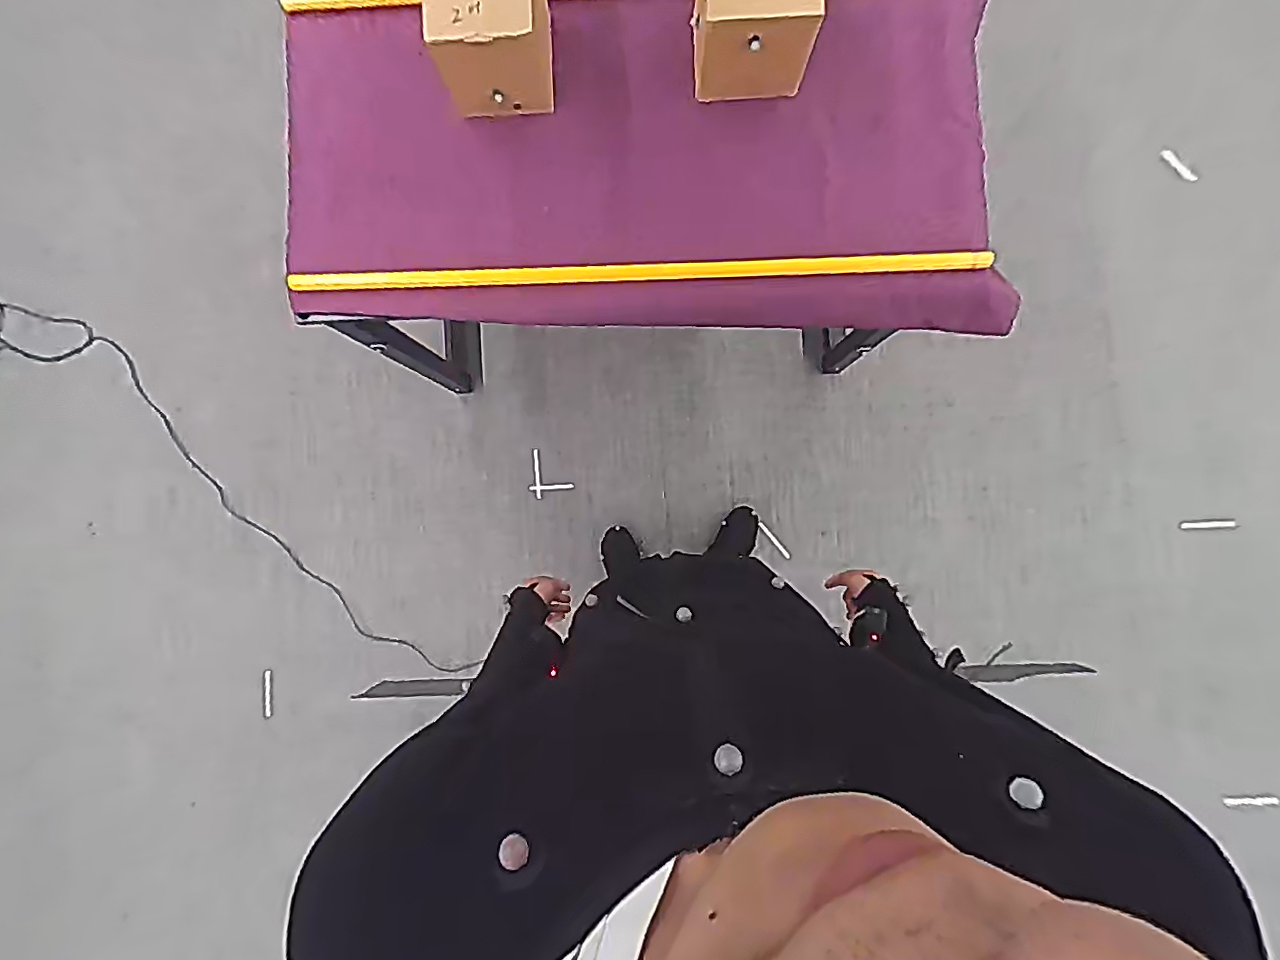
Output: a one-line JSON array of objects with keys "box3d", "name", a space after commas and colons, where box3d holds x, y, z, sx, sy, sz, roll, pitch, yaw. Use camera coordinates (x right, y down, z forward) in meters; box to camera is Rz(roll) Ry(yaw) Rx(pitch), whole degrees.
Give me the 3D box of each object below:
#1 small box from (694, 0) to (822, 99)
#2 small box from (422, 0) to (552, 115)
[{"box3d": [0.181, -0.754, 0.873, 0.179, 0.176, 0.168, -2, 89, 3], "name": "small box"}, {"box3d": [-0.241, -0.741, 0.884, 0.168, 0.176, 0.179, -2, 89, 2], "name": "small box"}]
